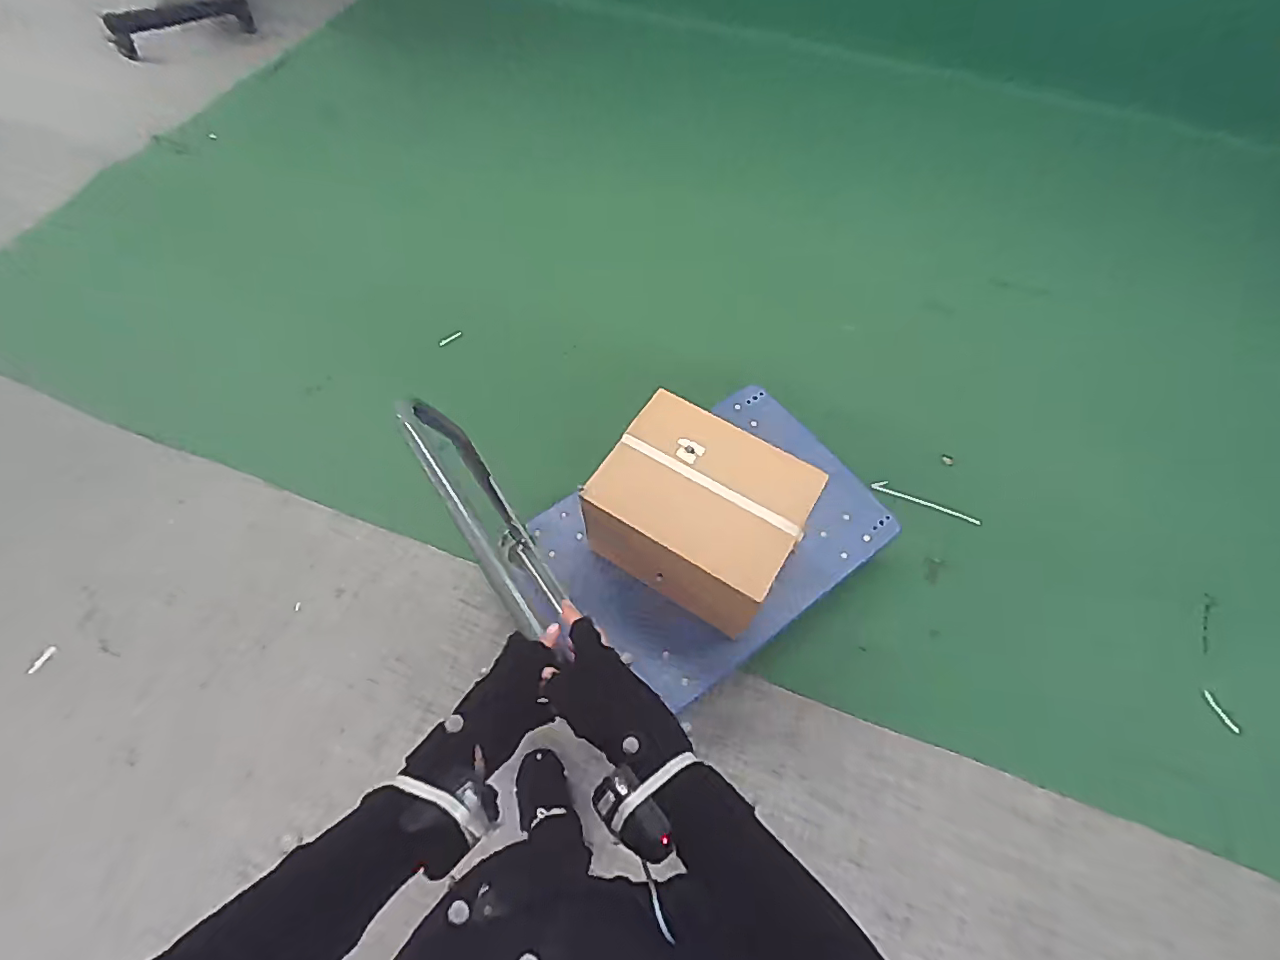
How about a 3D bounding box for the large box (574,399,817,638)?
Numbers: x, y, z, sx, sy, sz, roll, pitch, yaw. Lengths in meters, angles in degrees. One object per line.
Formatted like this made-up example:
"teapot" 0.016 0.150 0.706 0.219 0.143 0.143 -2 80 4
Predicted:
"large box" 0.117 0.095 1.215 0.408 0.320 0.320 30 65 16
